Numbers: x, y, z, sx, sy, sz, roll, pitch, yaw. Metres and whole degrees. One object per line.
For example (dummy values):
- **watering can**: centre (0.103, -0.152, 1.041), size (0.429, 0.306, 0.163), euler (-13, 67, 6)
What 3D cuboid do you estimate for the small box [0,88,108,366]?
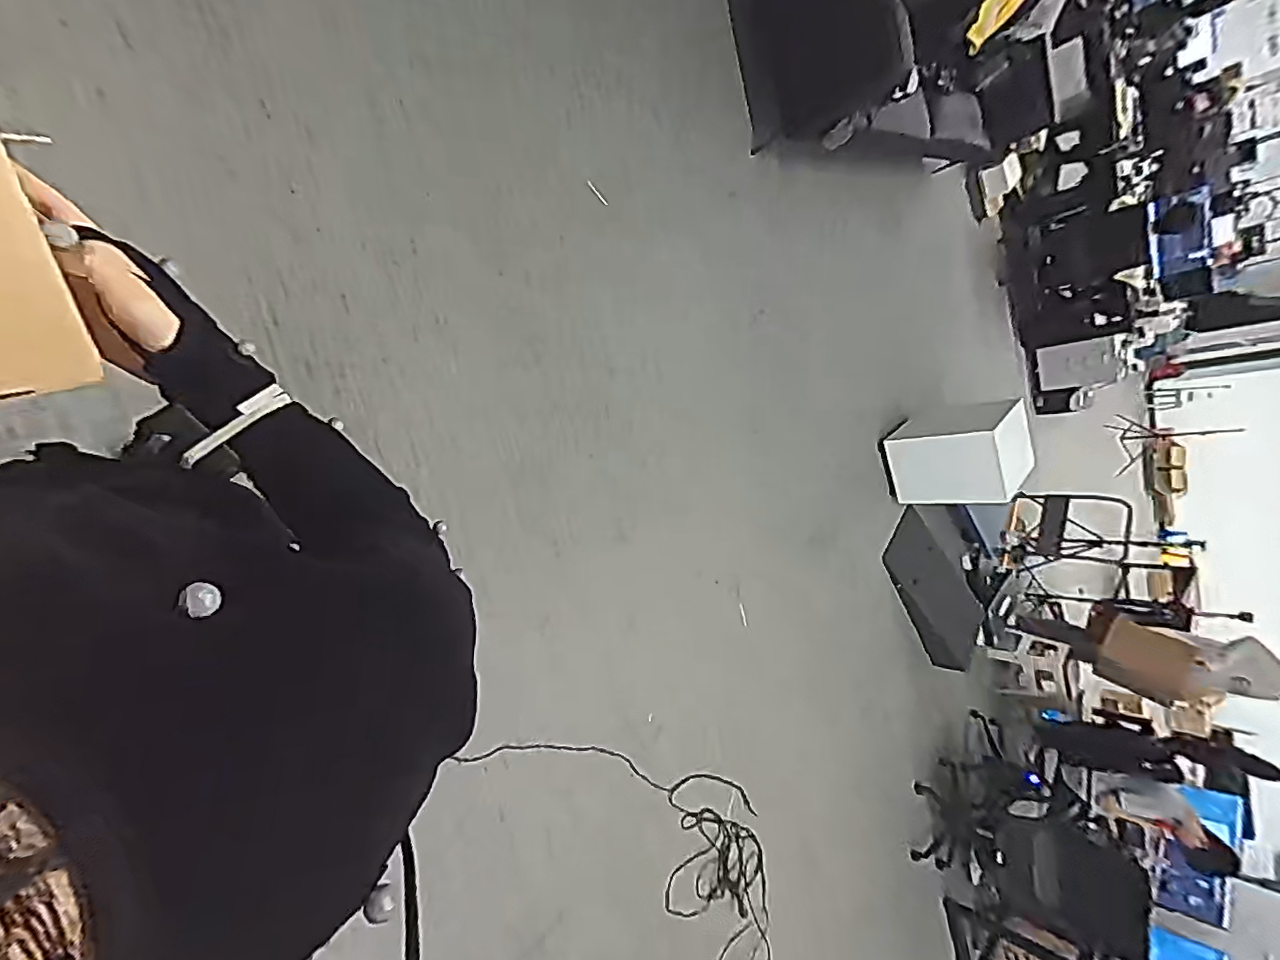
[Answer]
- **small box**: centre (-0.420, -0.141, 0.260), size (0.168, 0.176, 0.179), euler (-31, 127, -47)
